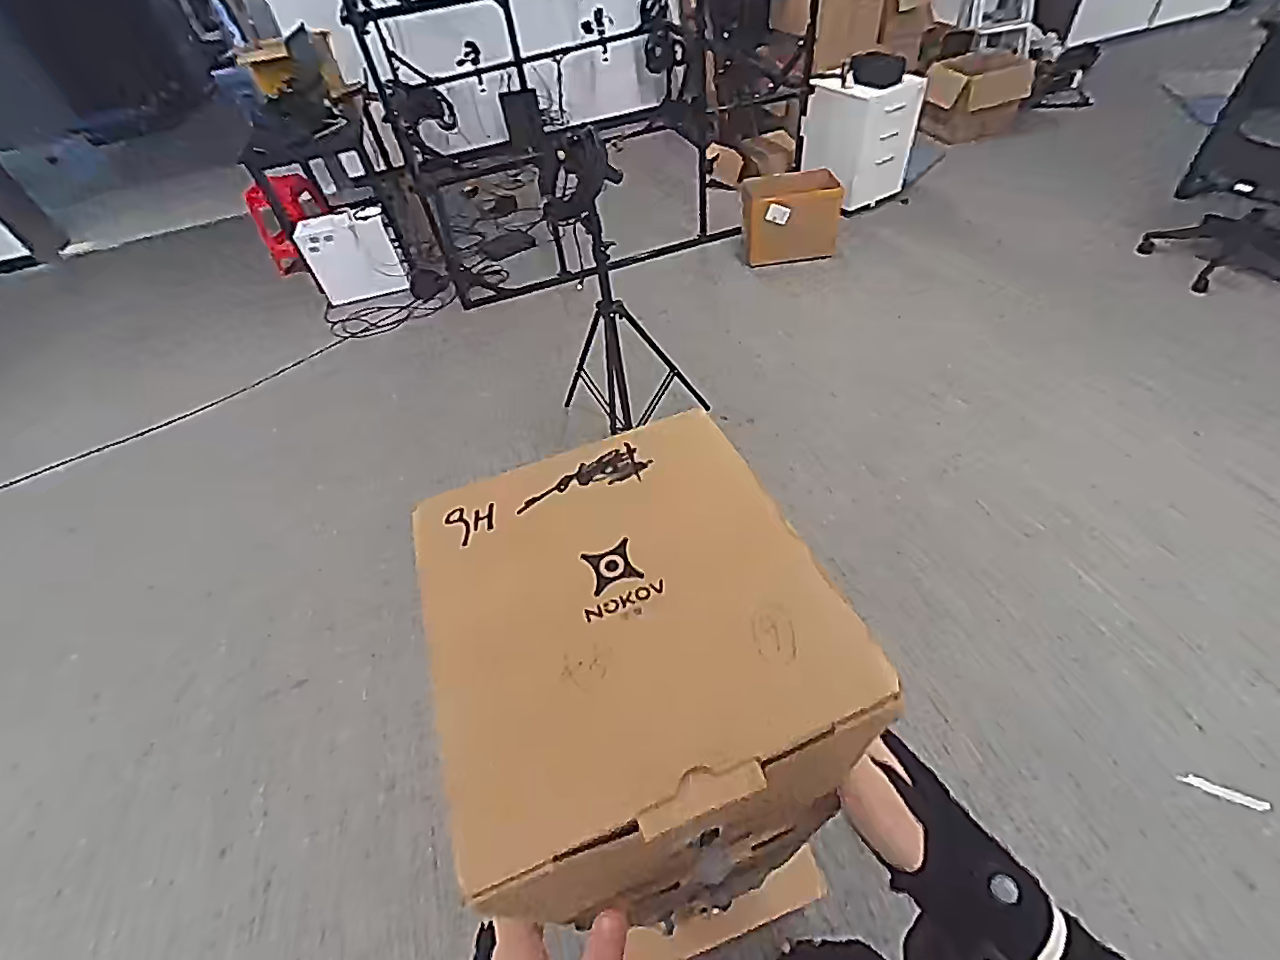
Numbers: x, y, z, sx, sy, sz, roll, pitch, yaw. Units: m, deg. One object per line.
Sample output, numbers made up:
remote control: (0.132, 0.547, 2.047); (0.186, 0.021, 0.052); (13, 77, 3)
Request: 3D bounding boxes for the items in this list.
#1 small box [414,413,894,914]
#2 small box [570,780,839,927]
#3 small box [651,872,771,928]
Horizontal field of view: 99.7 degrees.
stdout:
small box: (-0.002, 0.100, 0.296); (0.168, 0.176, 0.179); (-19, 50, -9)
small box: (0.022, 0.207, 0.418); (0.168, 0.176, 0.179); (-19, 50, -8)
small box: (0.073, 0.523, 0.795); (0.168, 0.176, 0.179); (-19, 50, -8)
